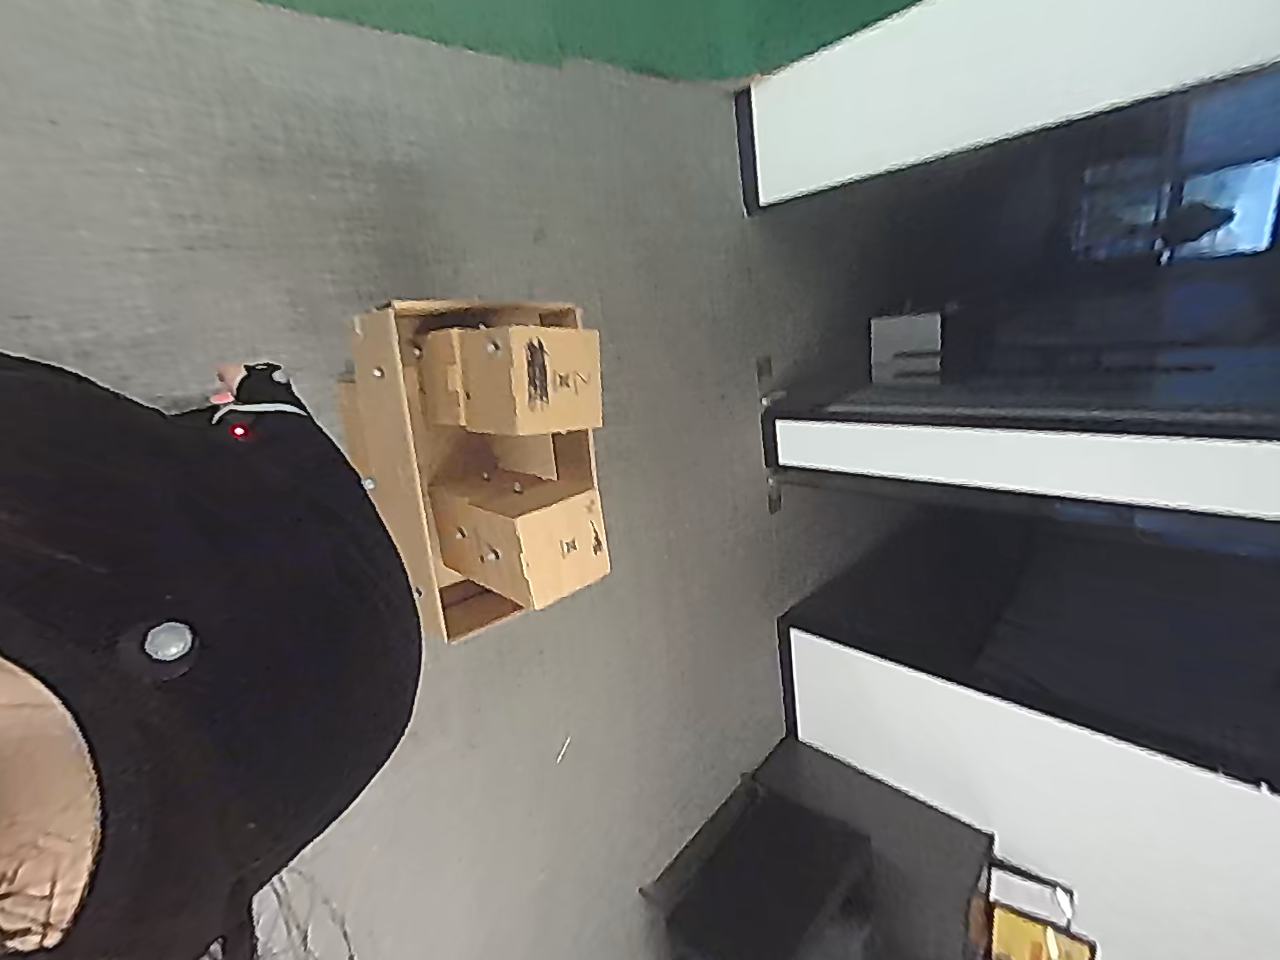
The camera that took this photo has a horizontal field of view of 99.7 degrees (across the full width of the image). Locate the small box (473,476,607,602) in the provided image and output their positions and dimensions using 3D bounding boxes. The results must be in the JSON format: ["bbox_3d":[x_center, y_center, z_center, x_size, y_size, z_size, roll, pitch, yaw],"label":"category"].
[{"bbox_3d":[-0.188,0.098,0.988,0.179,0.176,0.168,-20,111,-41],"label":"small box"}]
